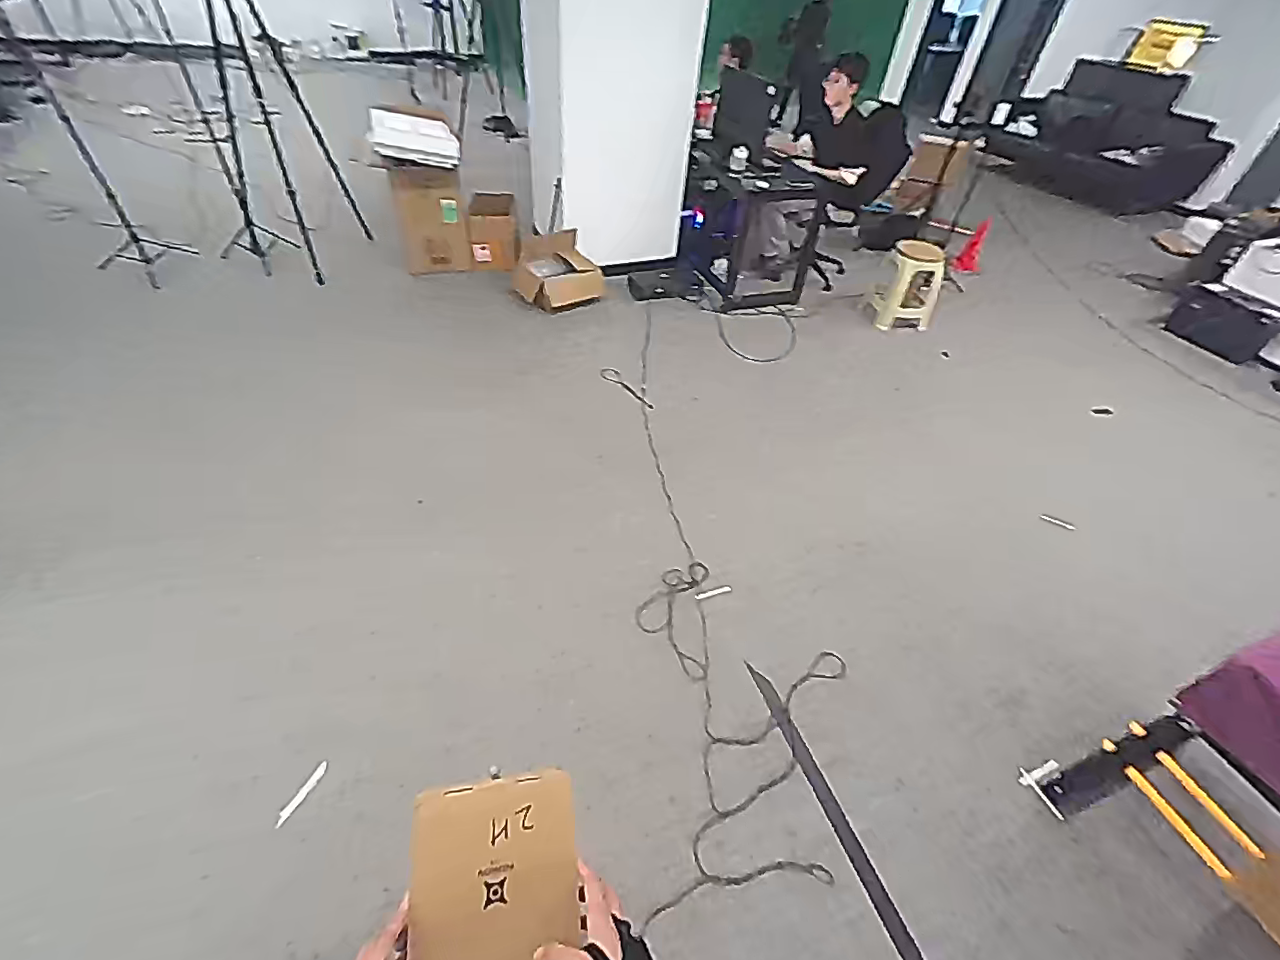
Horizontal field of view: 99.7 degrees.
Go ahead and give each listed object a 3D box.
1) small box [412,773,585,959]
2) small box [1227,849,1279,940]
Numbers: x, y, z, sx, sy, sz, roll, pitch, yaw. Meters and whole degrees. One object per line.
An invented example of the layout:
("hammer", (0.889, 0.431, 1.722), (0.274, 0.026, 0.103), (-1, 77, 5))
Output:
("small box", (-0.157, 0.443, 0.615), (0.168, 0.176, 0.179), (1, 63, -15))
("small box", (1.540, 0.964, 1.234), (0.168, 0.176, 0.179), (-14, 48, -19))
